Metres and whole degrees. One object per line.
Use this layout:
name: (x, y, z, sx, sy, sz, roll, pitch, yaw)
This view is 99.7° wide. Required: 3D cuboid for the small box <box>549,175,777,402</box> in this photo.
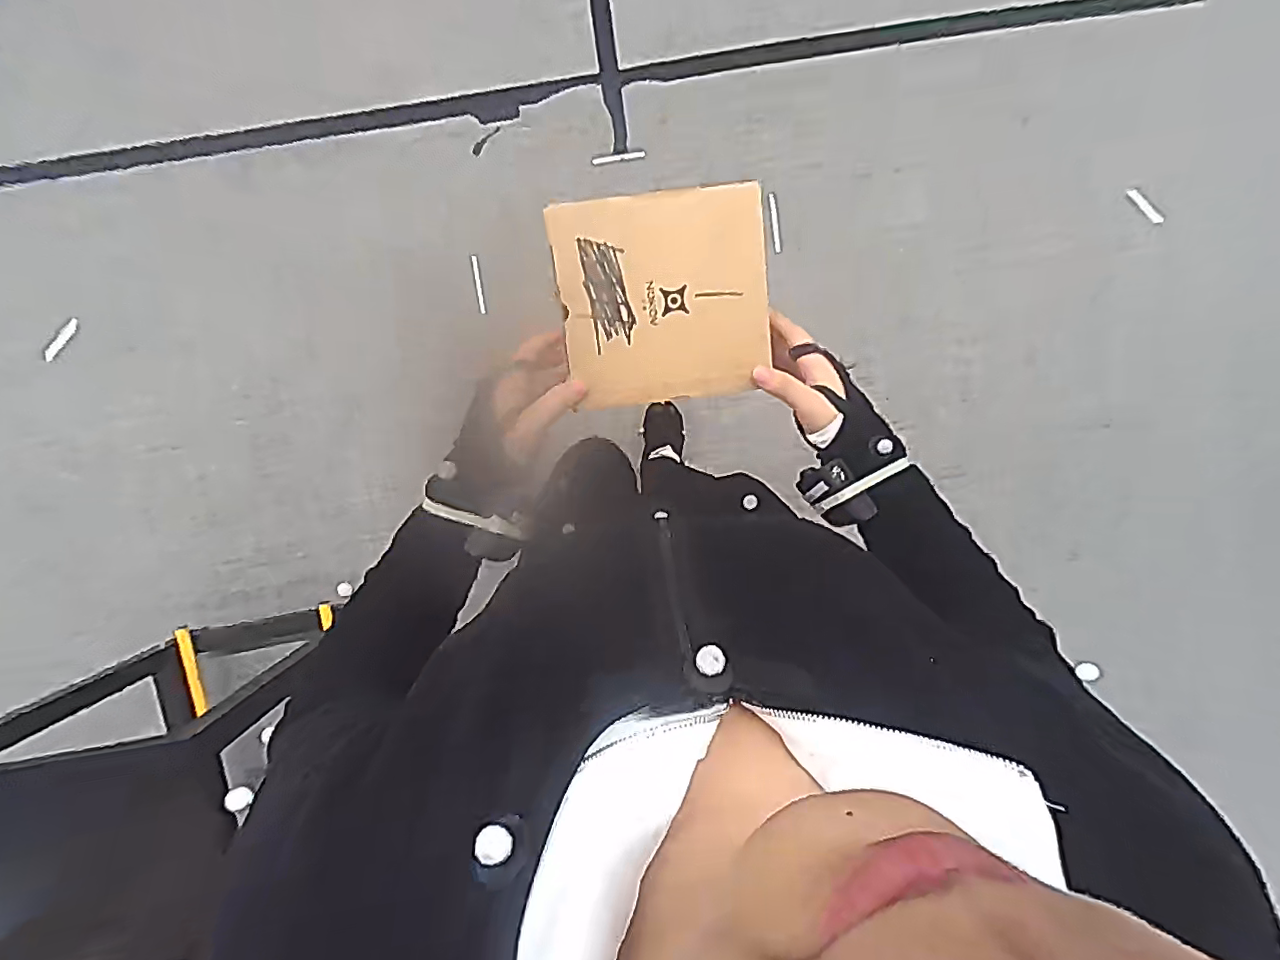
small box: (0.018, -0.170, 0.520, 0.179, 0.176, 0.168, -8, 103, -3)
